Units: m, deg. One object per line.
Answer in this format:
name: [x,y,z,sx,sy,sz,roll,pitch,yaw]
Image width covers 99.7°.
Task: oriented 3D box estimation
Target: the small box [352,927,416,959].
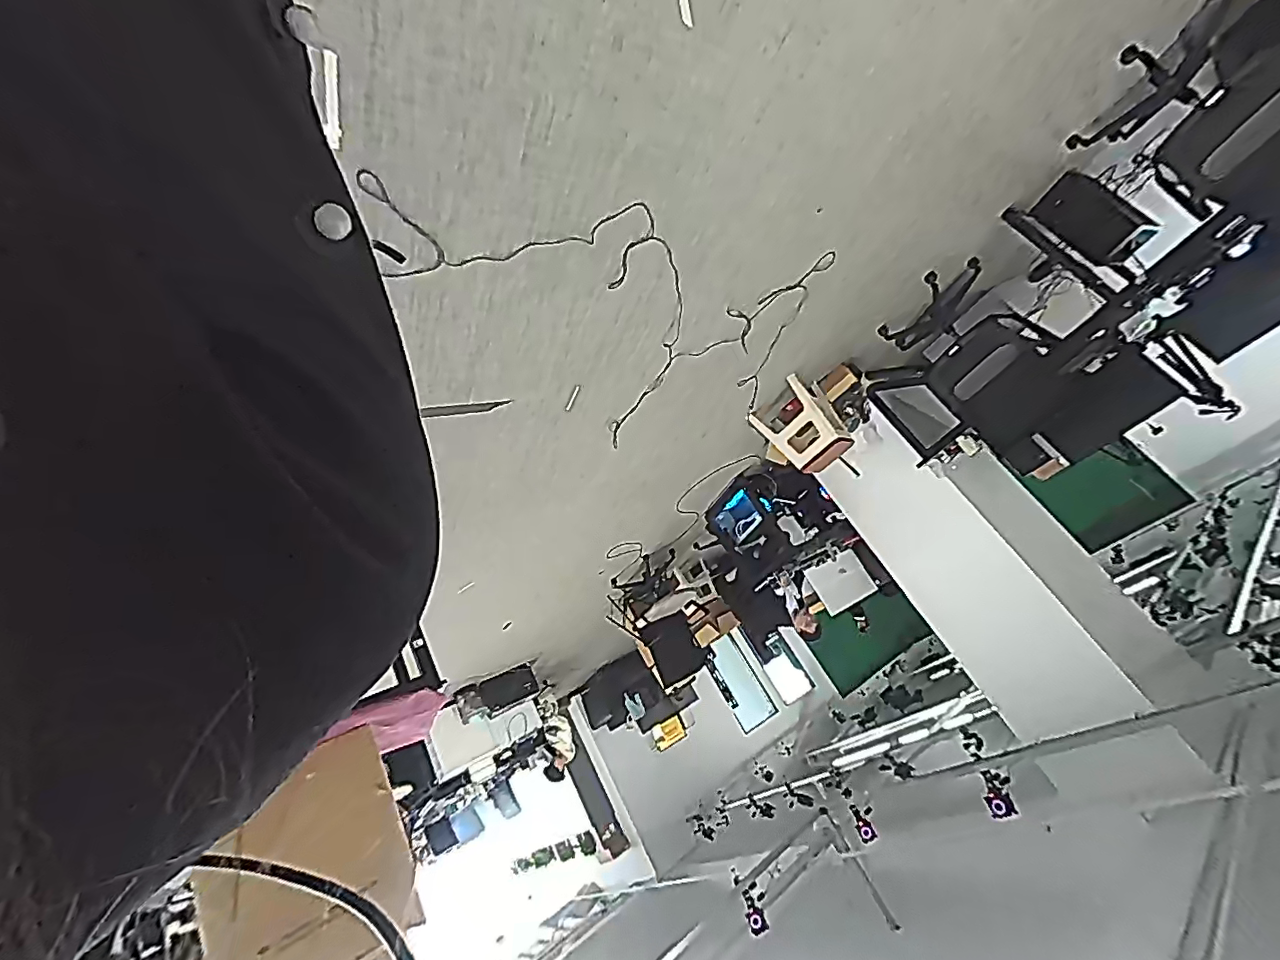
small box: [-0.814,1.567,1.718,0.168,0.176,0.179,-12,150,-38]
